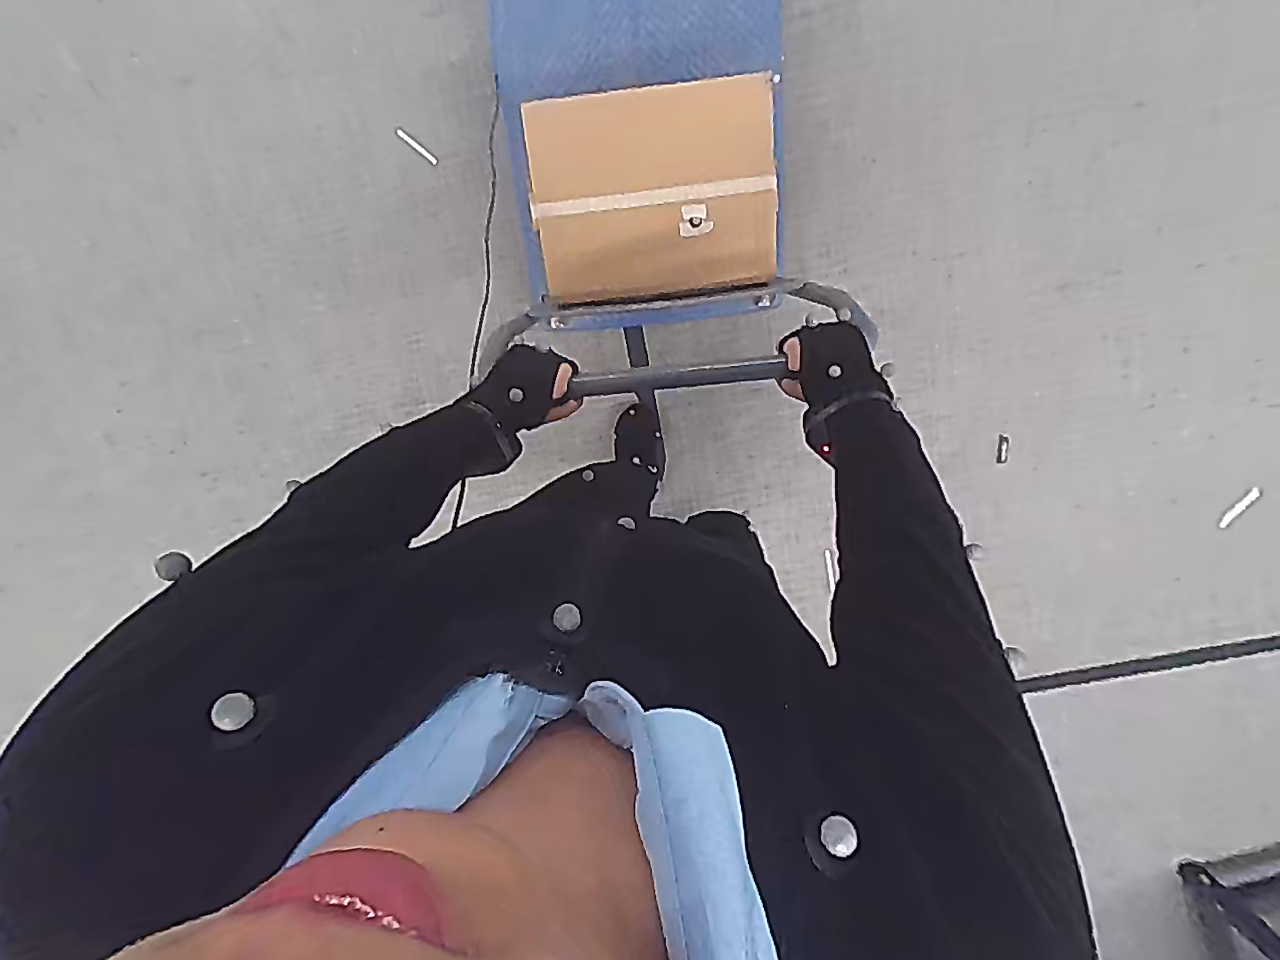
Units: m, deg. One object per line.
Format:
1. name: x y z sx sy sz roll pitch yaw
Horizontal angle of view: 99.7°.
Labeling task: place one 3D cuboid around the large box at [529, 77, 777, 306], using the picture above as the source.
1. large box: 0.028 -0.531 1.067 0.408 0.320 0.320 -6 110 2
